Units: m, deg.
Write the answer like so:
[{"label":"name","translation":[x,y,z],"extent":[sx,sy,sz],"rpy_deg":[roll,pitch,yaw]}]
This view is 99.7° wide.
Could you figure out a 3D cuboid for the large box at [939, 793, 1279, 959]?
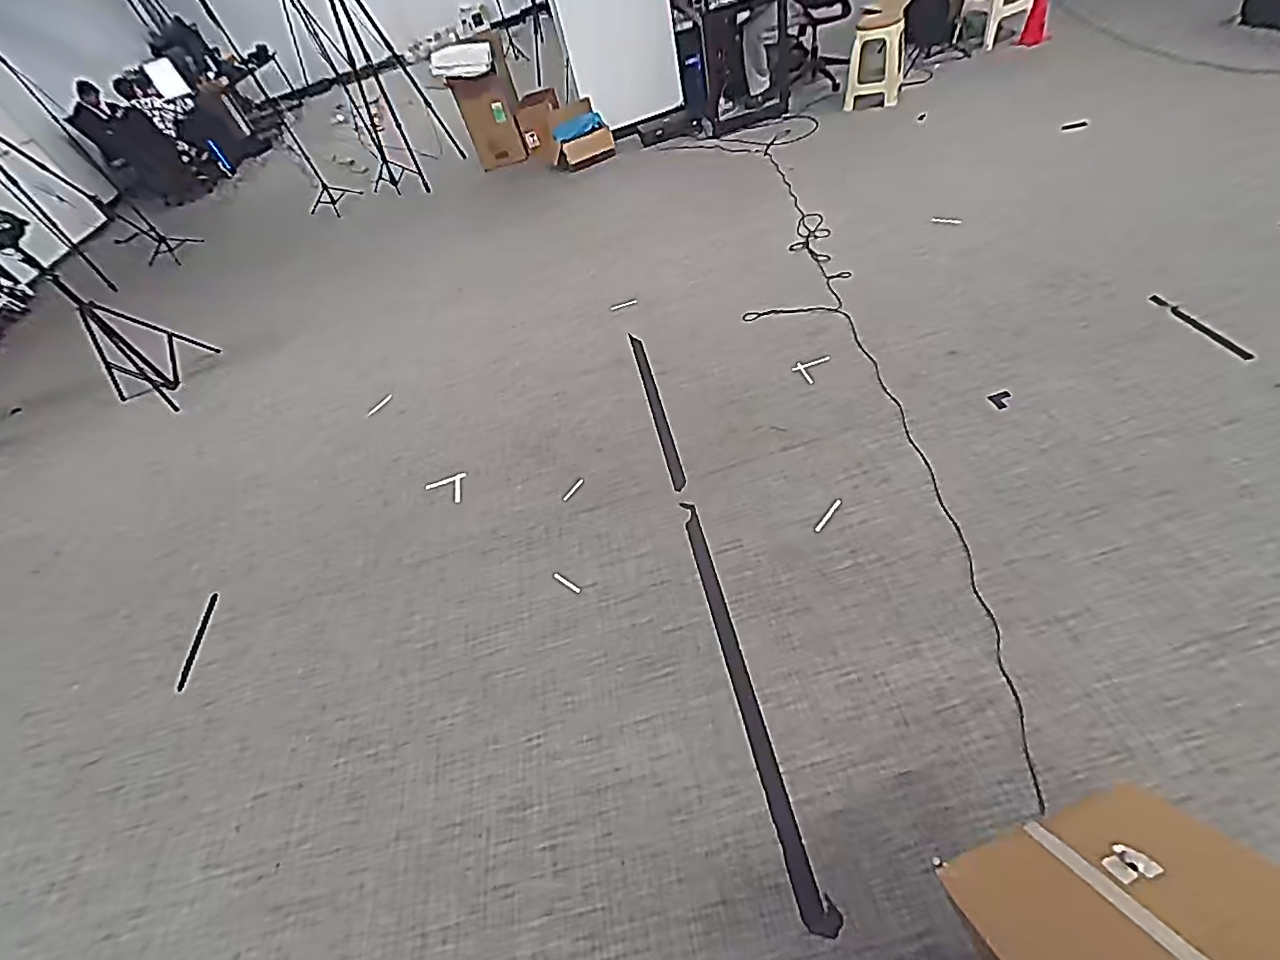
[{"label":"large box","translation":[0.633,0.638,0.586],"extent":[0.320,0.408,0.320],"rpy_deg":[-25,82,0]}]
